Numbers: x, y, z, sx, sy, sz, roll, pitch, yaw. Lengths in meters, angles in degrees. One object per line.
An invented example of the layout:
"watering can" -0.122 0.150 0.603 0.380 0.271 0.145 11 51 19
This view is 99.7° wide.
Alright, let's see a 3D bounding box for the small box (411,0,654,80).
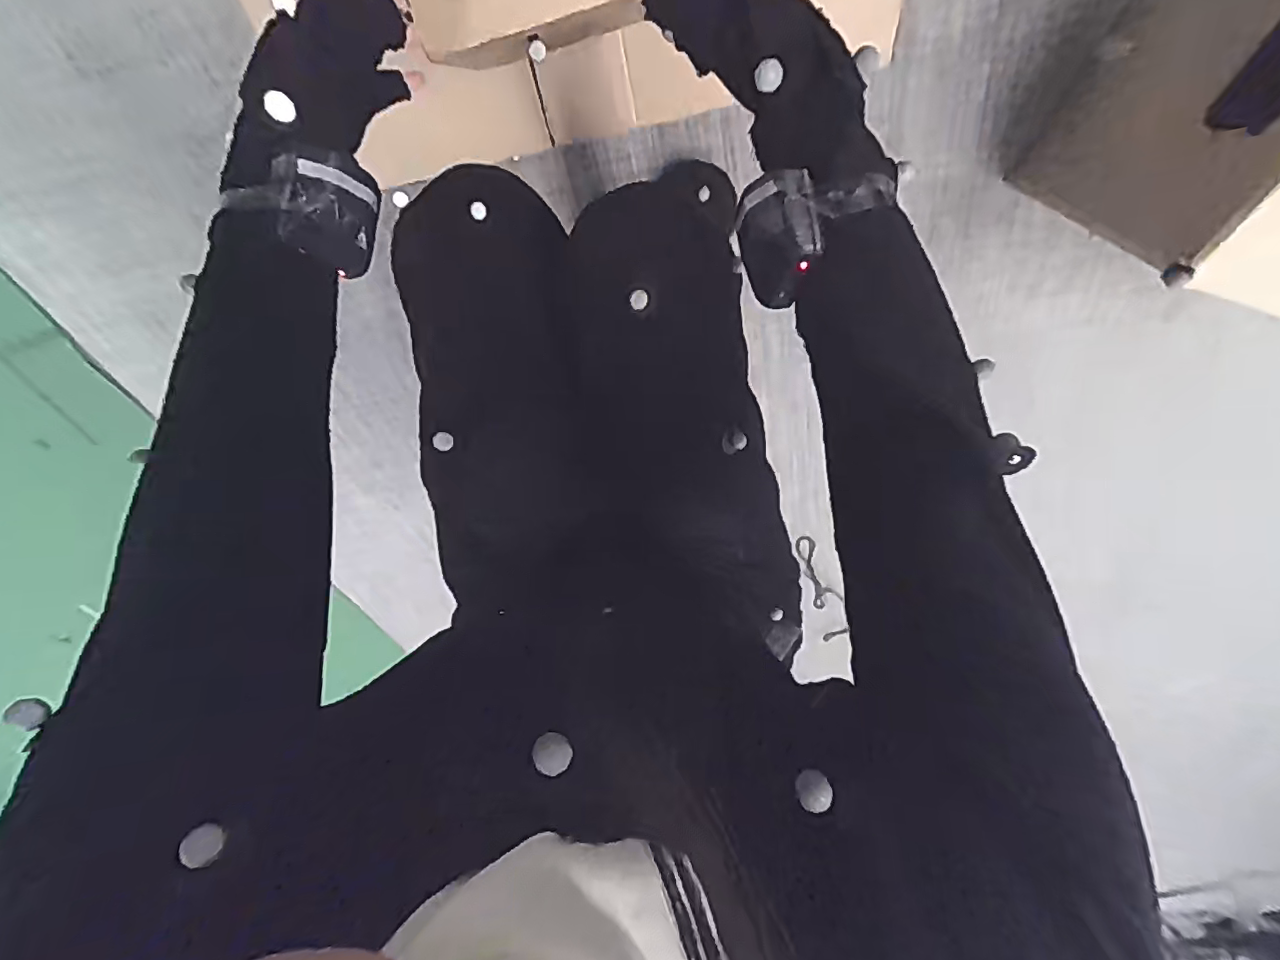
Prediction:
"small box" -0.091 -0.439 0.420 0.179 0.176 0.168 -14 121 9
